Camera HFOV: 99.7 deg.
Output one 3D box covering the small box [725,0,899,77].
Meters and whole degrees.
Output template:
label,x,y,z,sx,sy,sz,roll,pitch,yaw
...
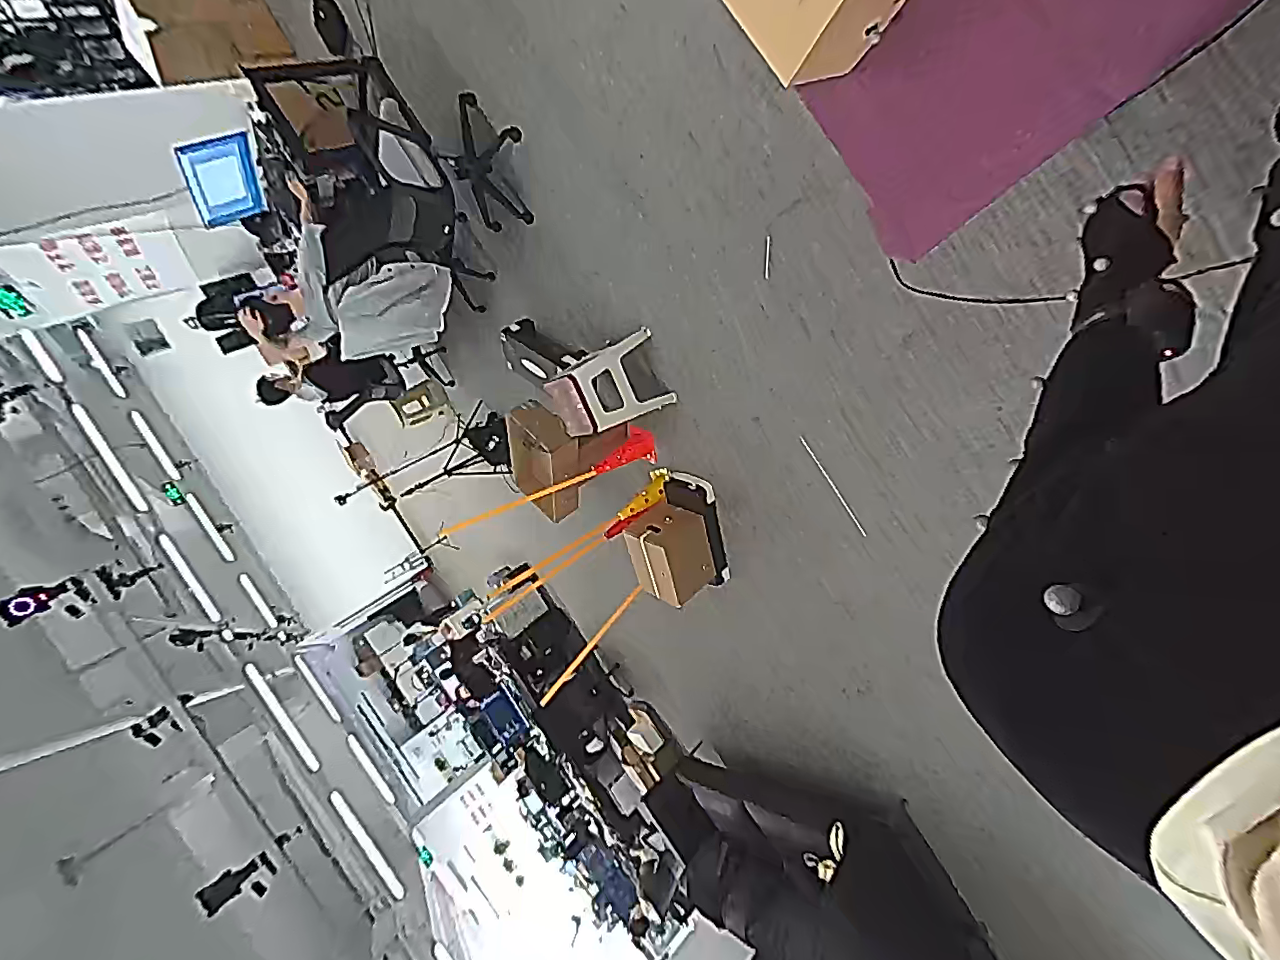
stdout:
label,x,y,z,sx,sy,sz,roll,pitch,yaw
small box,0.228,-0.657,0.681,0.179,0.176,0.168,55,151,1
